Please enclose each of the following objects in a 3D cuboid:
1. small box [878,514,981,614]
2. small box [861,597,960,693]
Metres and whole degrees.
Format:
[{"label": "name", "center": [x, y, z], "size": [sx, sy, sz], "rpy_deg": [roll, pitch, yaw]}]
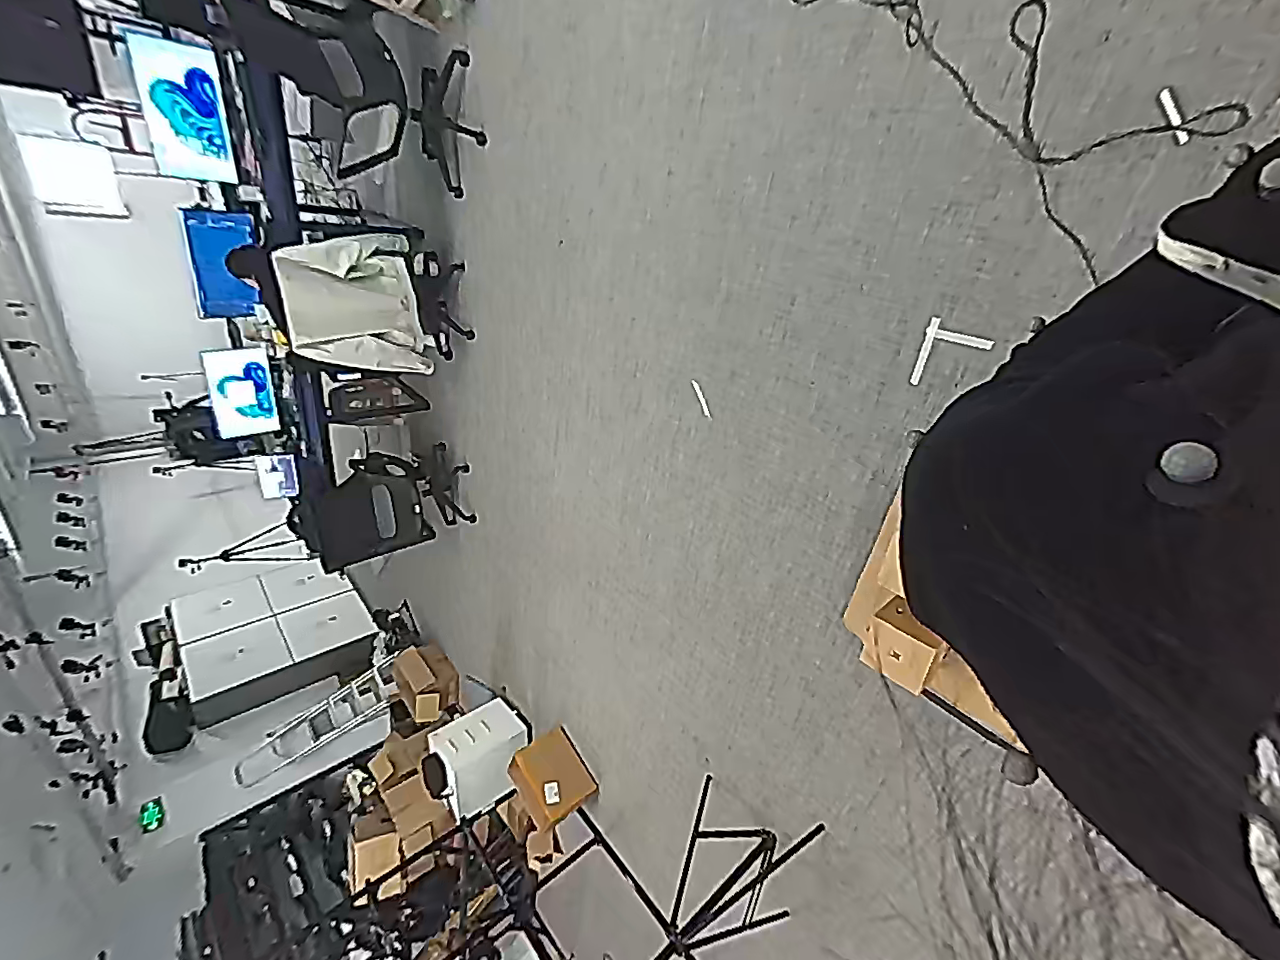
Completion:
[{"label": "small box", "center": [0.762, 0.210, 1.419], "size": [0.168, 0.176, 0.179], "rpy_deg": [30, 125, 39]}, {"label": "small box", "center": [0.757, 0.451, 1.516], "size": [0.179, 0.176, 0.168], "rpy_deg": [27, 124, 40]}]
